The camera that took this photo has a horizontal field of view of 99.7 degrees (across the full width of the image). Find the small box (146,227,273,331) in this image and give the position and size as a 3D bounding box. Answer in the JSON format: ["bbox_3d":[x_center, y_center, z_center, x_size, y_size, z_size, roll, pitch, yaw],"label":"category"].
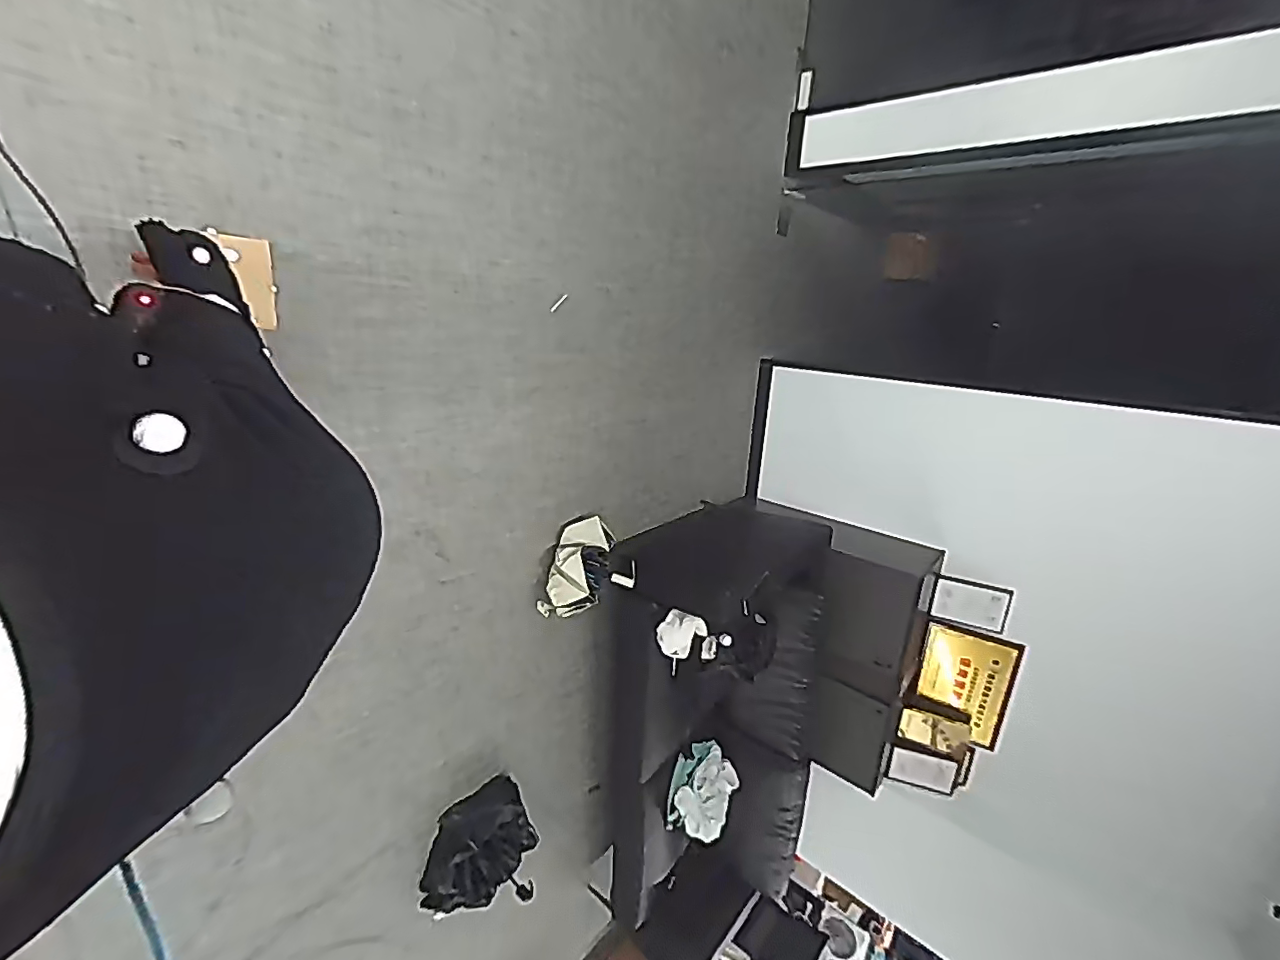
[{"bbox_3d":[-0.879,-0.407,1.108,0.168,0.176,0.179,-13,114,-49],"label":"small box"}]
